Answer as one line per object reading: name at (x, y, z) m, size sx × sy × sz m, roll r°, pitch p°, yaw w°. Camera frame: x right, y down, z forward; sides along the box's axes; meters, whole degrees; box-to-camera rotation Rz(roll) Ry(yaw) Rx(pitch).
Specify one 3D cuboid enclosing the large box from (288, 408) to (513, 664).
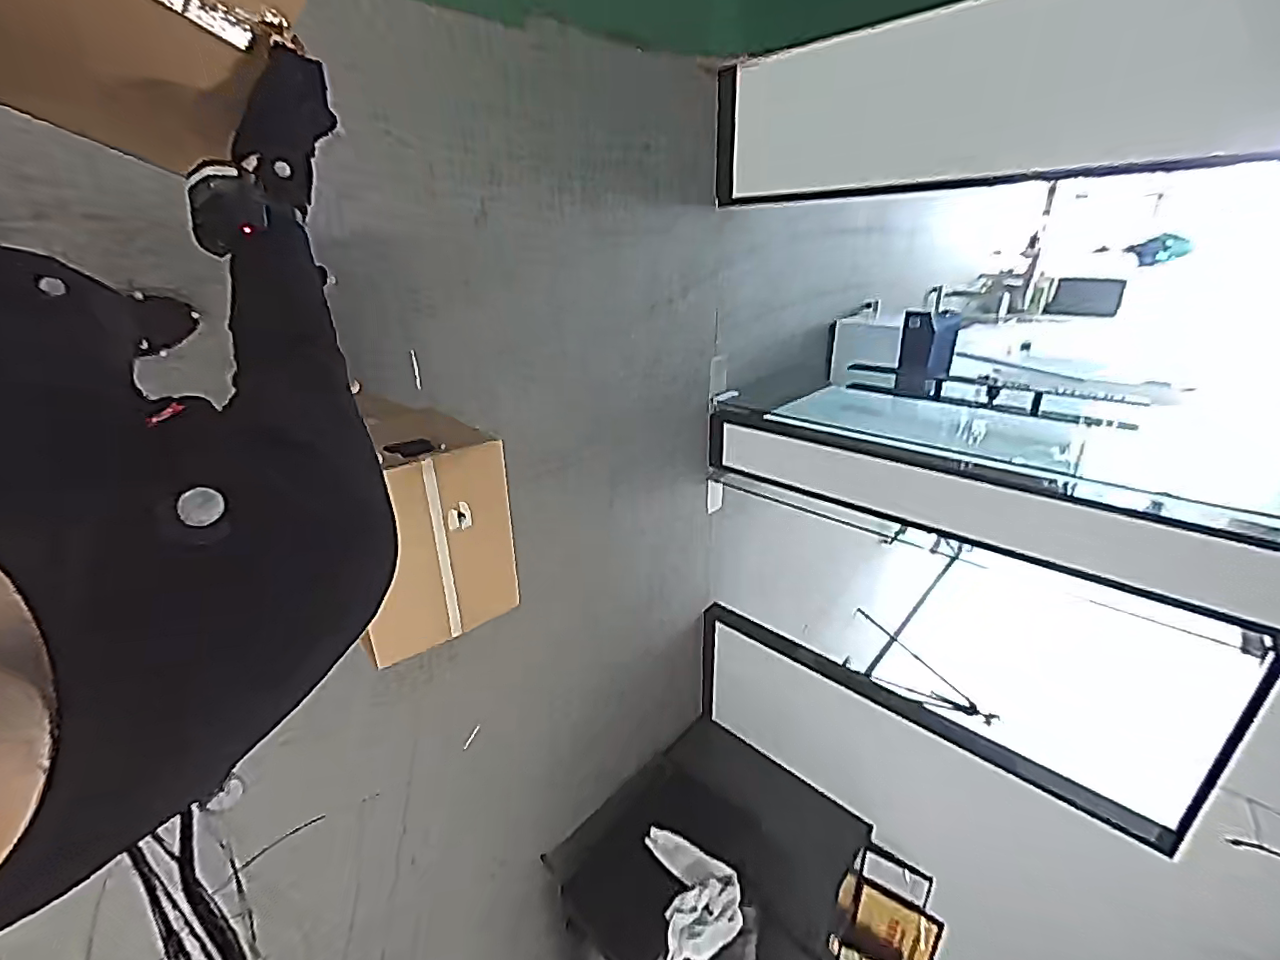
large box at (-0.500, 0.092, 1.149) m, size 0.320 × 0.320 × 0.408 m, roll -19°, pitch 119°, yaw -38°
